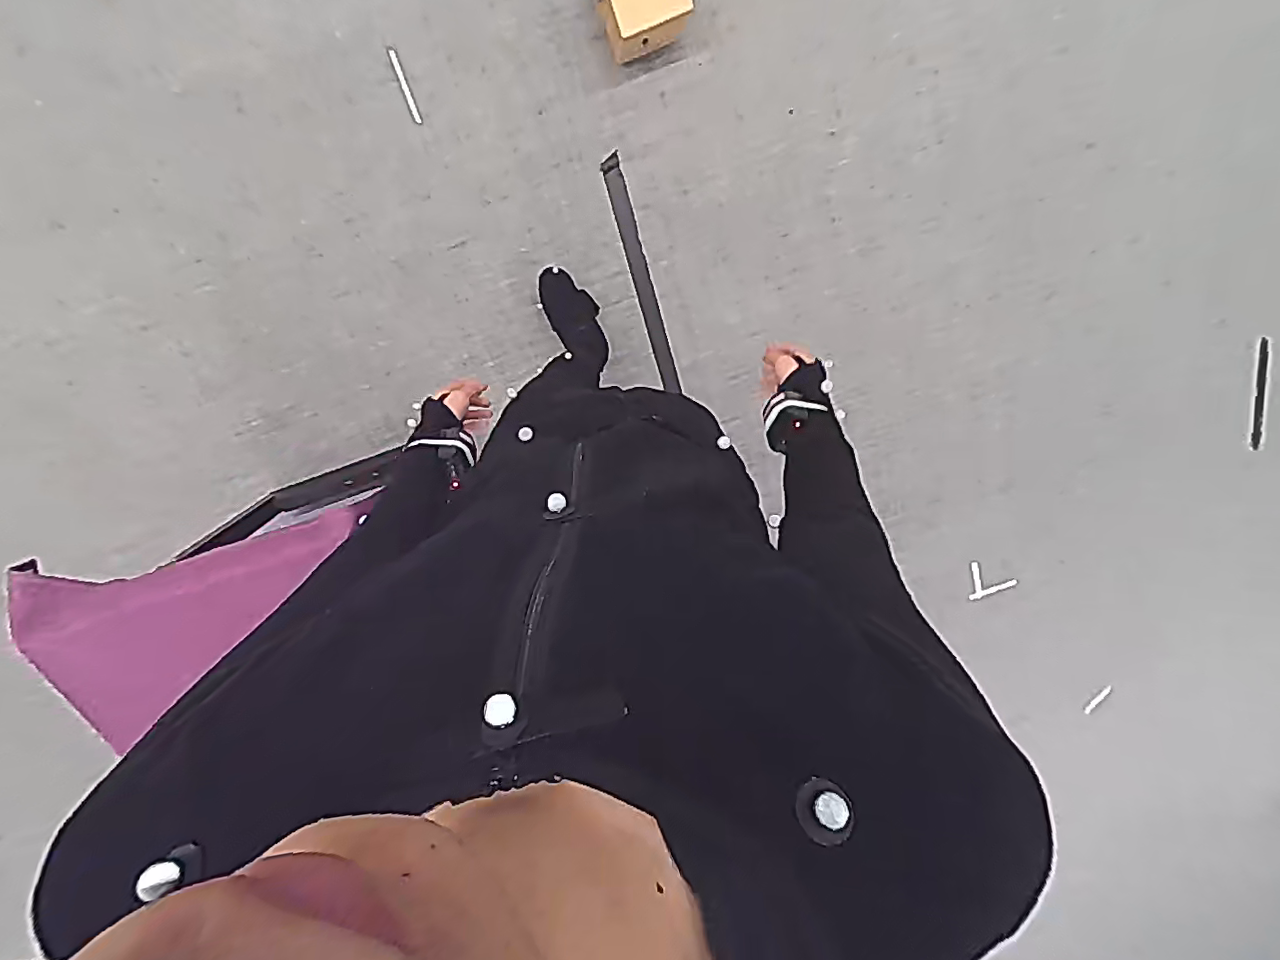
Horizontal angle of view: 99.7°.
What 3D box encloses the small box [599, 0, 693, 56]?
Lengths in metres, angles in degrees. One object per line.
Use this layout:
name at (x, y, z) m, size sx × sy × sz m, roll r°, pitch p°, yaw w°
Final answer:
small box at (0.003, -1.072, 1.184) m, size 0.168 × 0.176 × 0.179 m, roll -22°, pitch 111°, yaw 3°
